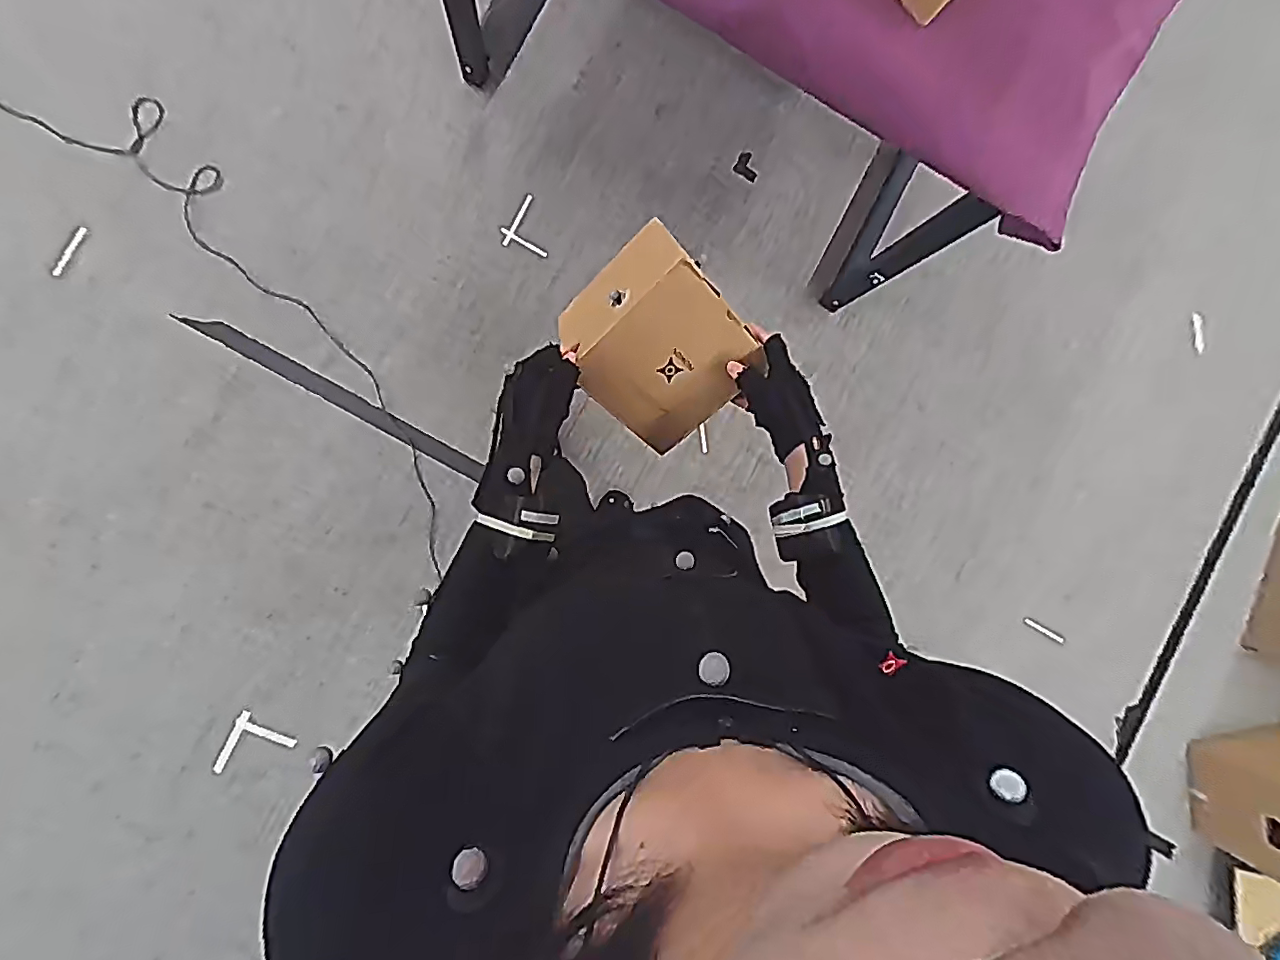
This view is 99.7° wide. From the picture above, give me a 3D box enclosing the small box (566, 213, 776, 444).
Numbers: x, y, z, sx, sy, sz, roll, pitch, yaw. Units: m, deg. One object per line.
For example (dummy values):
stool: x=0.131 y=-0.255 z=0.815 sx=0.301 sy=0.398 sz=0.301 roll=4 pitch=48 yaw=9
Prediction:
small box: x=0.024 y=-0.184 z=0.646 sx=0.179 sy=0.176 sz=0.168 roll=-40 pitch=123 yaw=19
